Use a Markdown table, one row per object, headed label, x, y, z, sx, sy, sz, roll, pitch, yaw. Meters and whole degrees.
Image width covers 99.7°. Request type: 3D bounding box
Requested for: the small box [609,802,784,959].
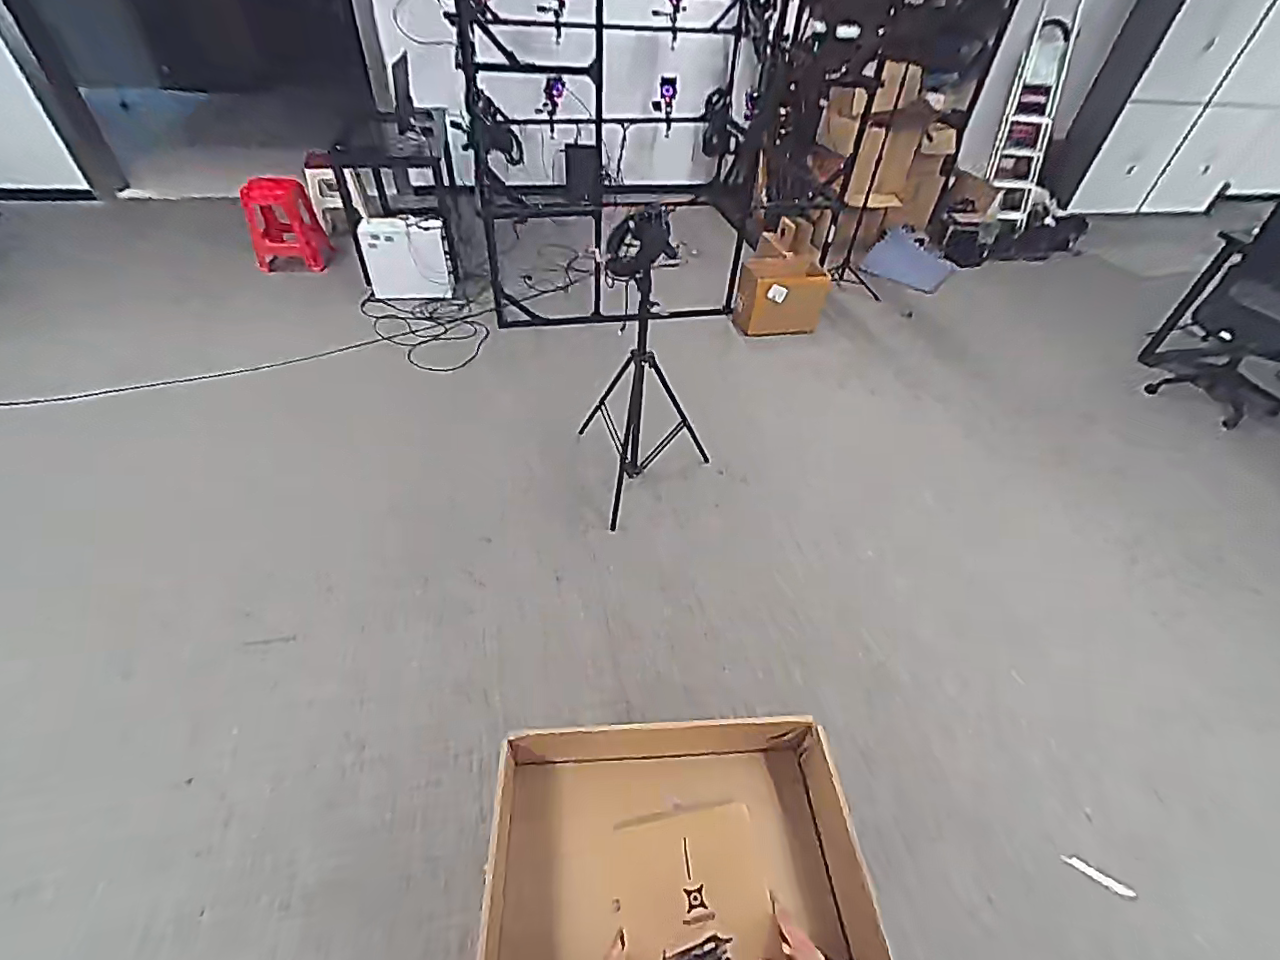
| label | x | y | z | sx | sy | sz | roll | pitch | yaw |
| --- | --- | --- | --- | --- | --- | --- | --- | --- | --- |
| small box | 0.061 | 0.497 | 0.639 | 0.168 | 0.176 | 0.179 | -10 | 61 | -5 |
